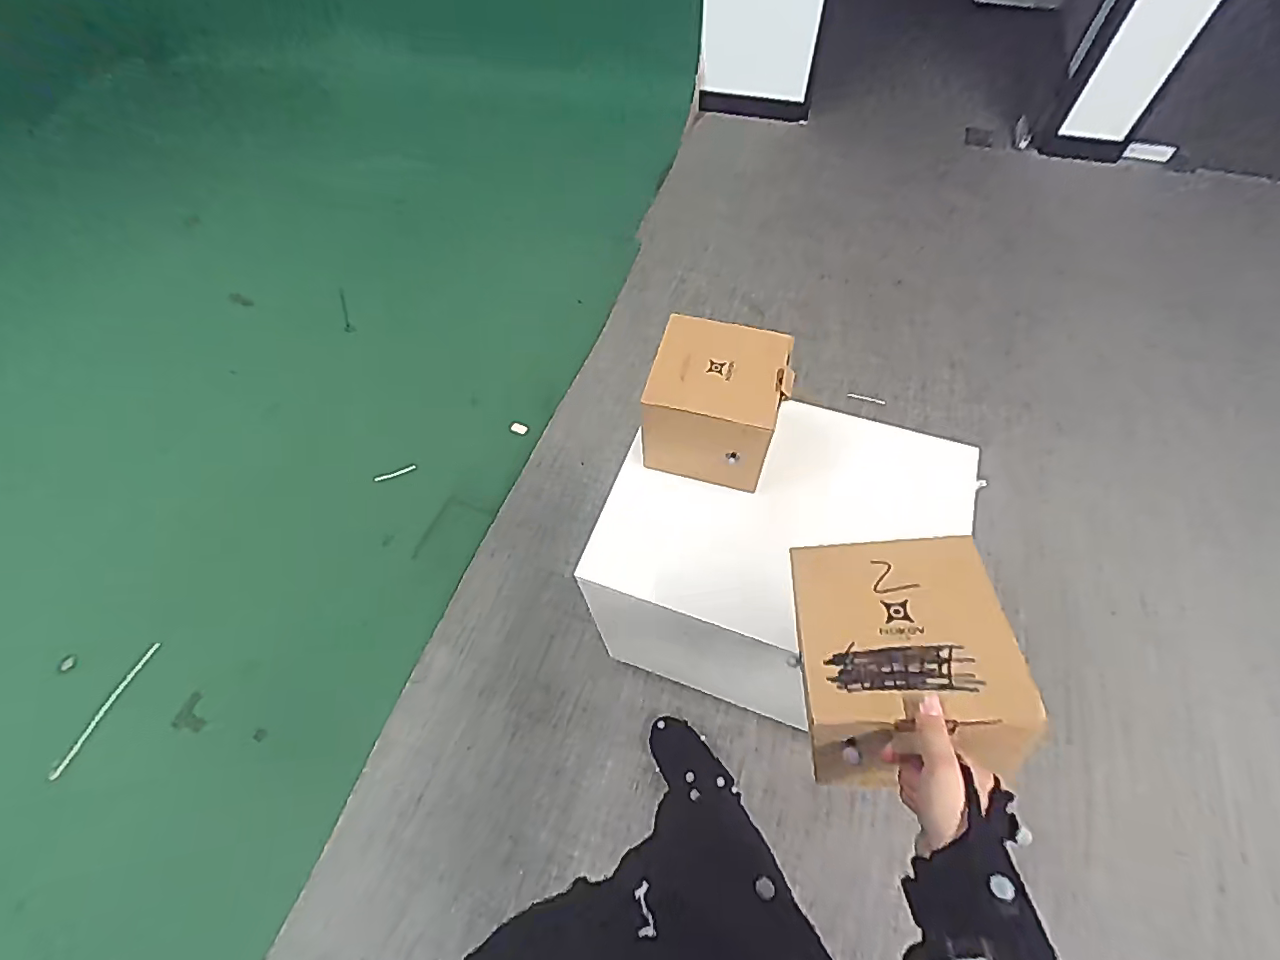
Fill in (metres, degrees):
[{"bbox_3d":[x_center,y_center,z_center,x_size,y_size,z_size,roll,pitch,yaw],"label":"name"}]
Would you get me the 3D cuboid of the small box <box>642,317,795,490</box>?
[{"bbox_3d":[0.109,-0.103,0.781,0.179,0.176,0.168,13,61,10],"label":"small box"}]
